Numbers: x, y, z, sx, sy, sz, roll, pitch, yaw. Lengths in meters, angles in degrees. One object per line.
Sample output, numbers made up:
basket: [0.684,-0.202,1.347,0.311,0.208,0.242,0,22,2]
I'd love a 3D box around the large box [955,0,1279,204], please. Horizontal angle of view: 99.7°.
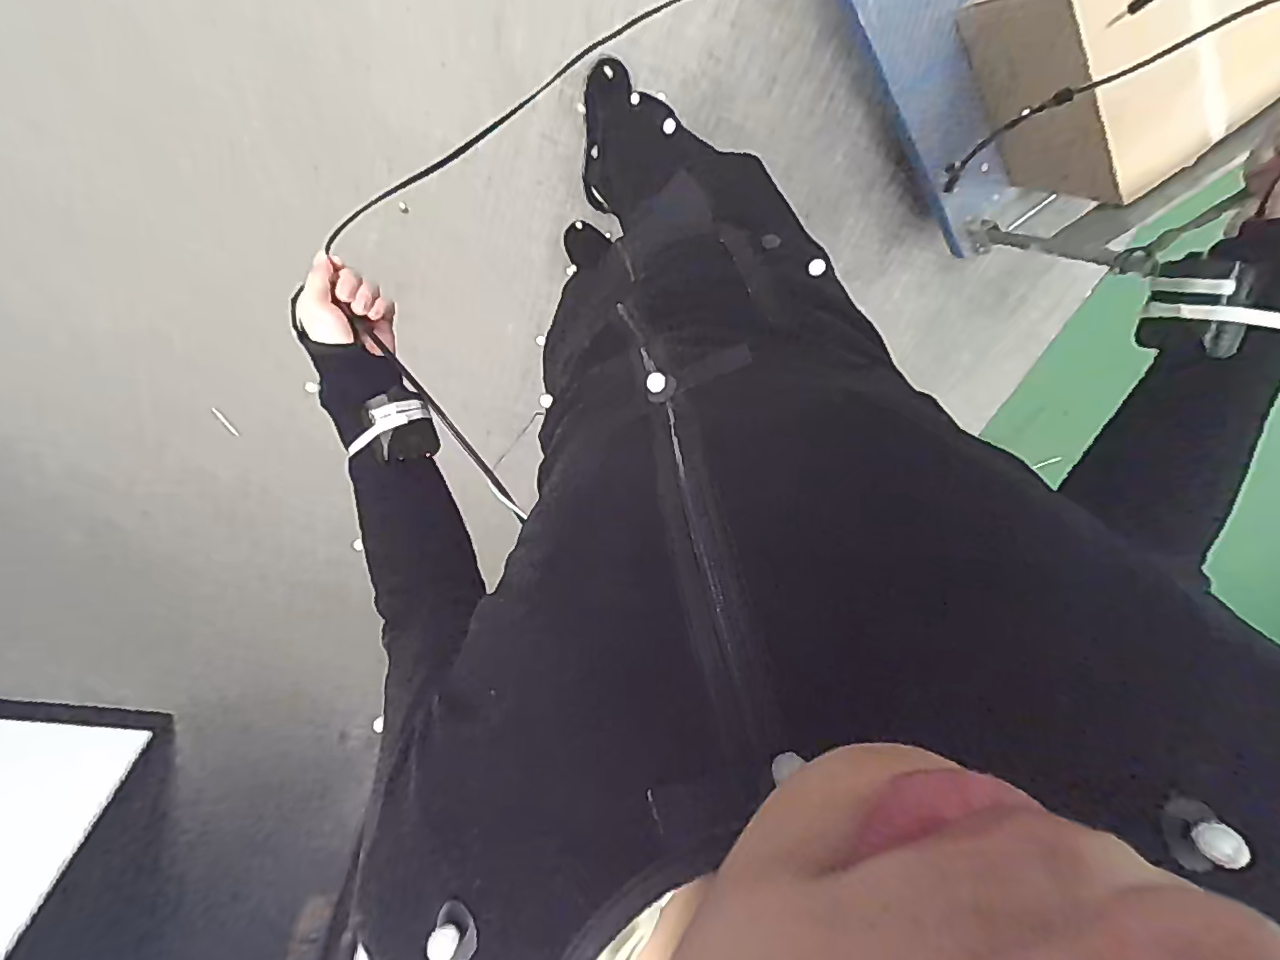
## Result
large box: [0.868,-0.795,0.986,0.320,0.320,0.408,-38,119,17]
